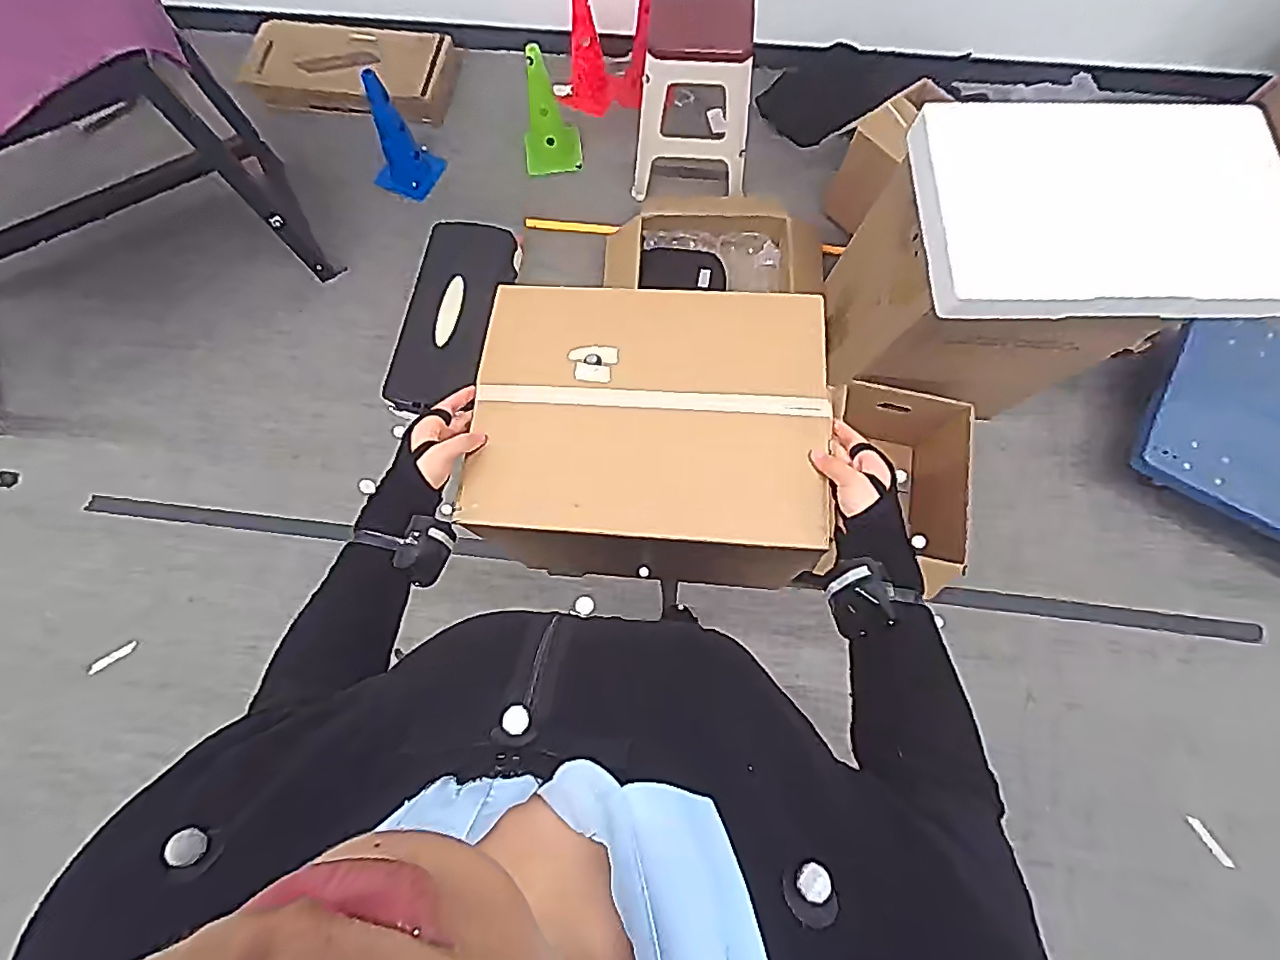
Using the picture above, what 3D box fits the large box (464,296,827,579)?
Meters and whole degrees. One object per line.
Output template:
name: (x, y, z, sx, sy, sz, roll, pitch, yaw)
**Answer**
large box: (0.021, -0.039, 0.772, 0.408, 0.320, 0.320, 2, 70, 5)
